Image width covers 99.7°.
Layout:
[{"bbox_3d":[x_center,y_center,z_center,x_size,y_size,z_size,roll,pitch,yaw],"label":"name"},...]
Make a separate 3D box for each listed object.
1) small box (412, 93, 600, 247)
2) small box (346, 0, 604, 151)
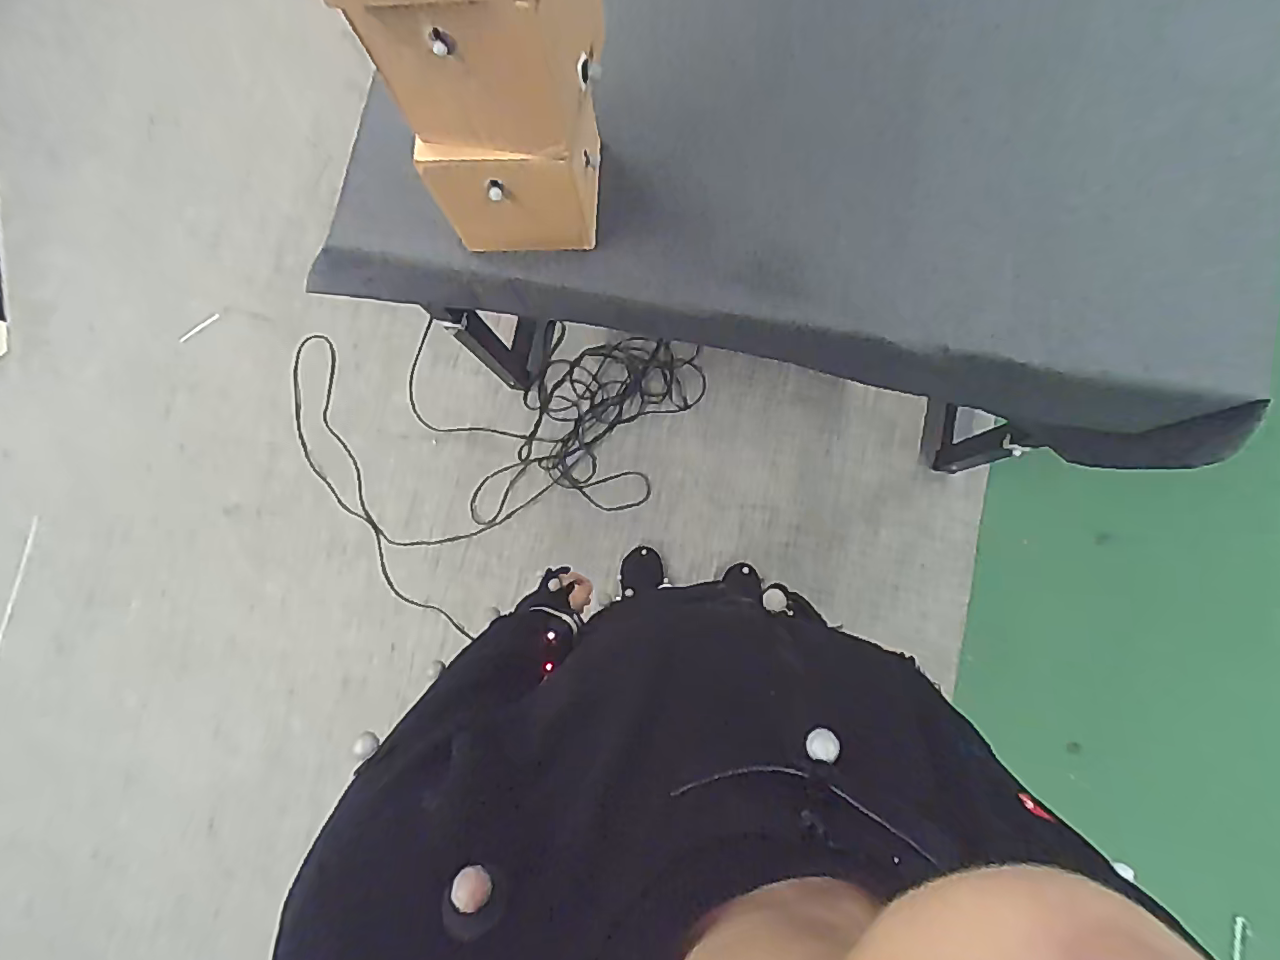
[{"bbox_3d":[-0.147,-0.403,0.654,0.179,0.176,0.168,2,82,5],"label":"small box"},{"bbox_3d":[-0.141,-0.437,0.495,0.179,0.176,0.168,10,84,5],"label":"small box"}]
